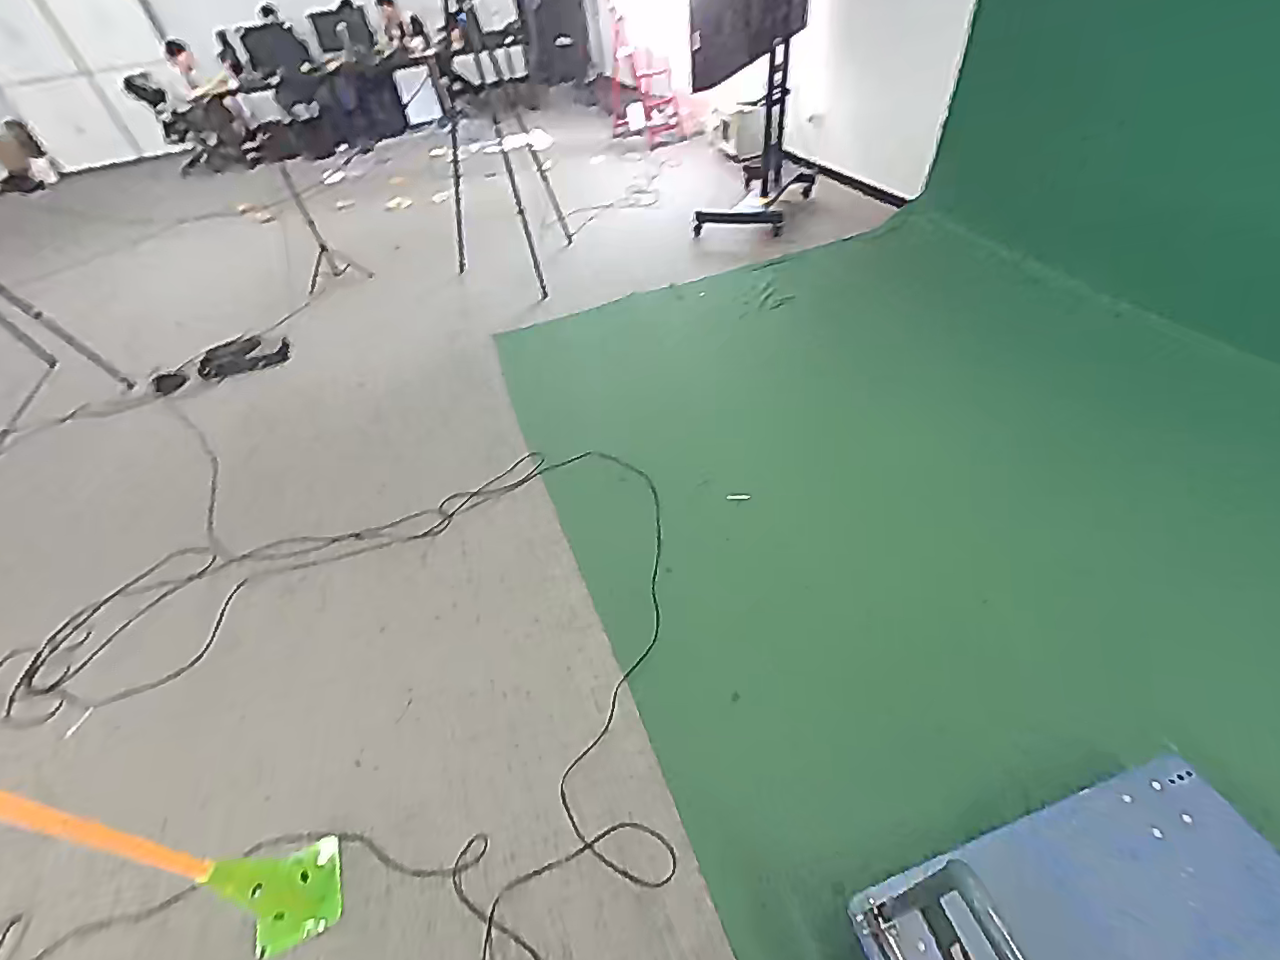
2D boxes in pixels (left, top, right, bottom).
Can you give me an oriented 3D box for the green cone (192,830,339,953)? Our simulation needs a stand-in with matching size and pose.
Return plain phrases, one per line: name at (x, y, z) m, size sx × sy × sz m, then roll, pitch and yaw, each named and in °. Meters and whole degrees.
green cone at (-0.883, 0.910, 1.243) m, size 0.200 × 0.368 × 0.202 m, roll -22°, pitch 46°, yaw -14°
